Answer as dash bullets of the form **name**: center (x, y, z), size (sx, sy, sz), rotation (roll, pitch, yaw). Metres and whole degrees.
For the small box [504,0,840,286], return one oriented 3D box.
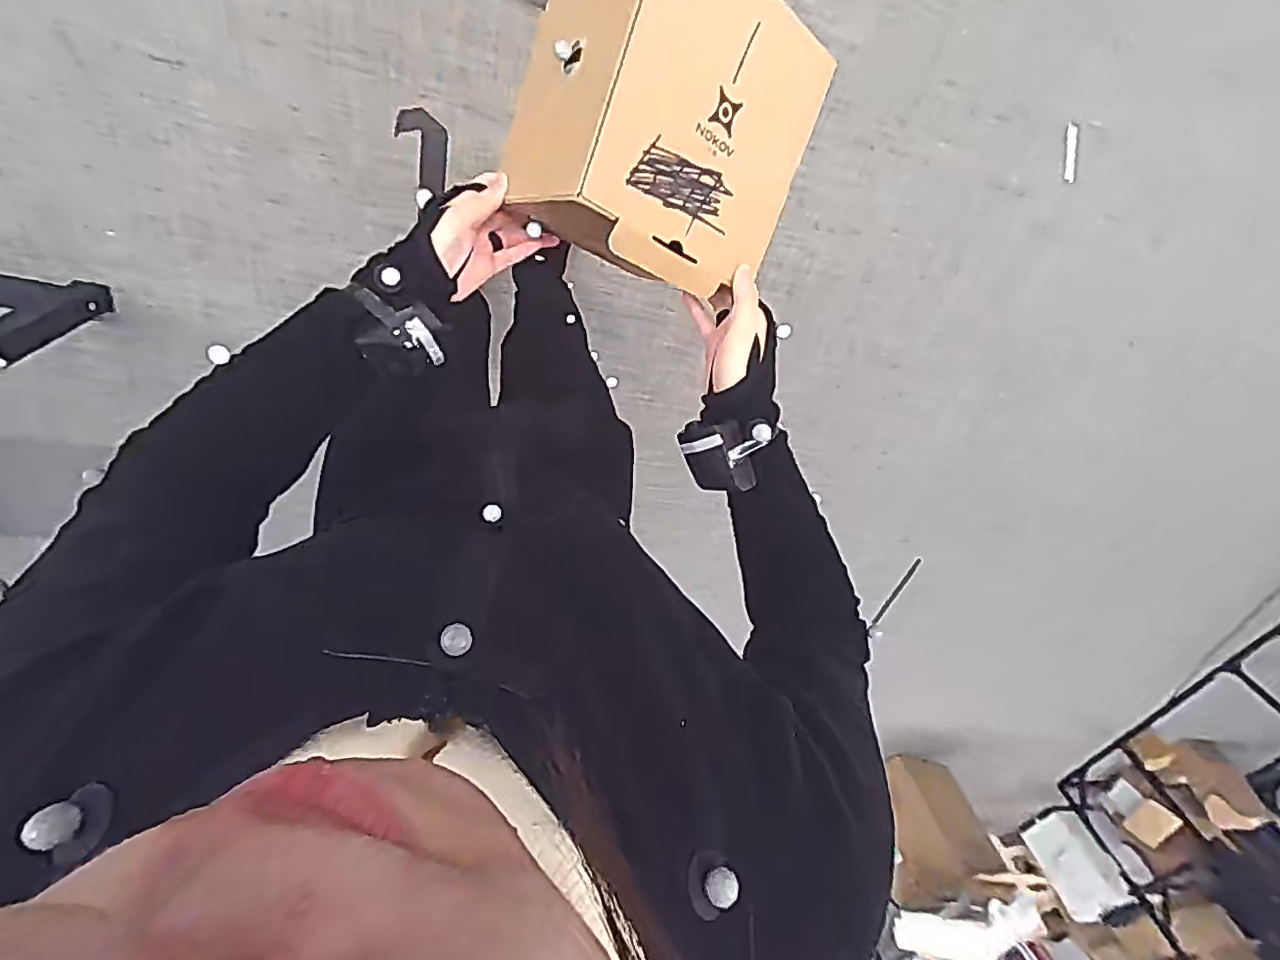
- **small box**: center (0.013, -0.274, 0.422), size (0.168, 0.176, 0.179), rotation (13, 102, -40)
